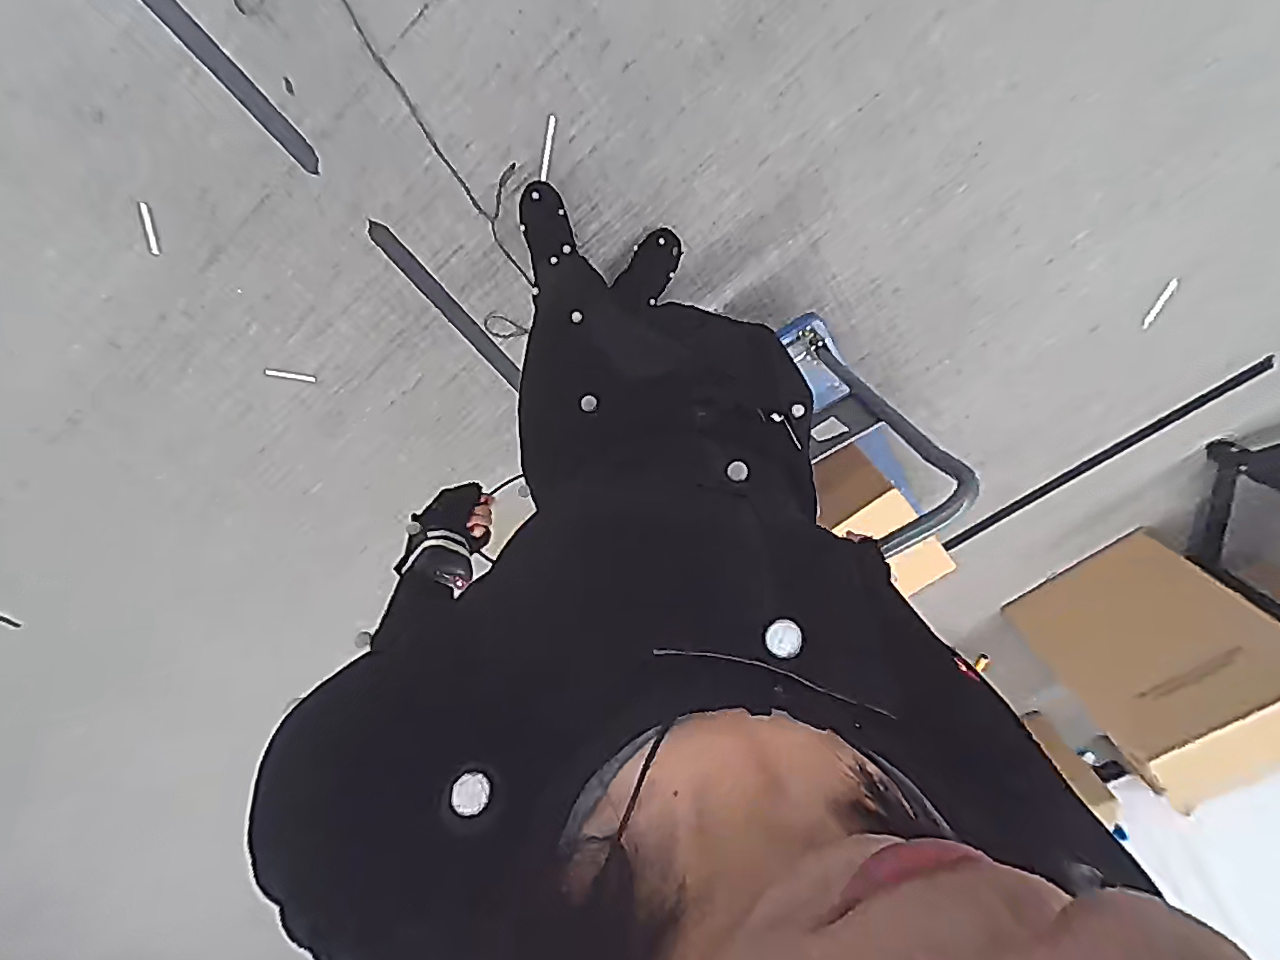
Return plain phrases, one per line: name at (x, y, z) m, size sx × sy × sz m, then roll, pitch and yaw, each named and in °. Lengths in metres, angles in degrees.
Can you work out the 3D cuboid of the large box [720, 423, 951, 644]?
large box at (0.475, 0.134, 1.385) m, size 0.408 × 0.320 × 0.320 m, roll -39°, pitch 116°, yaw 18°
